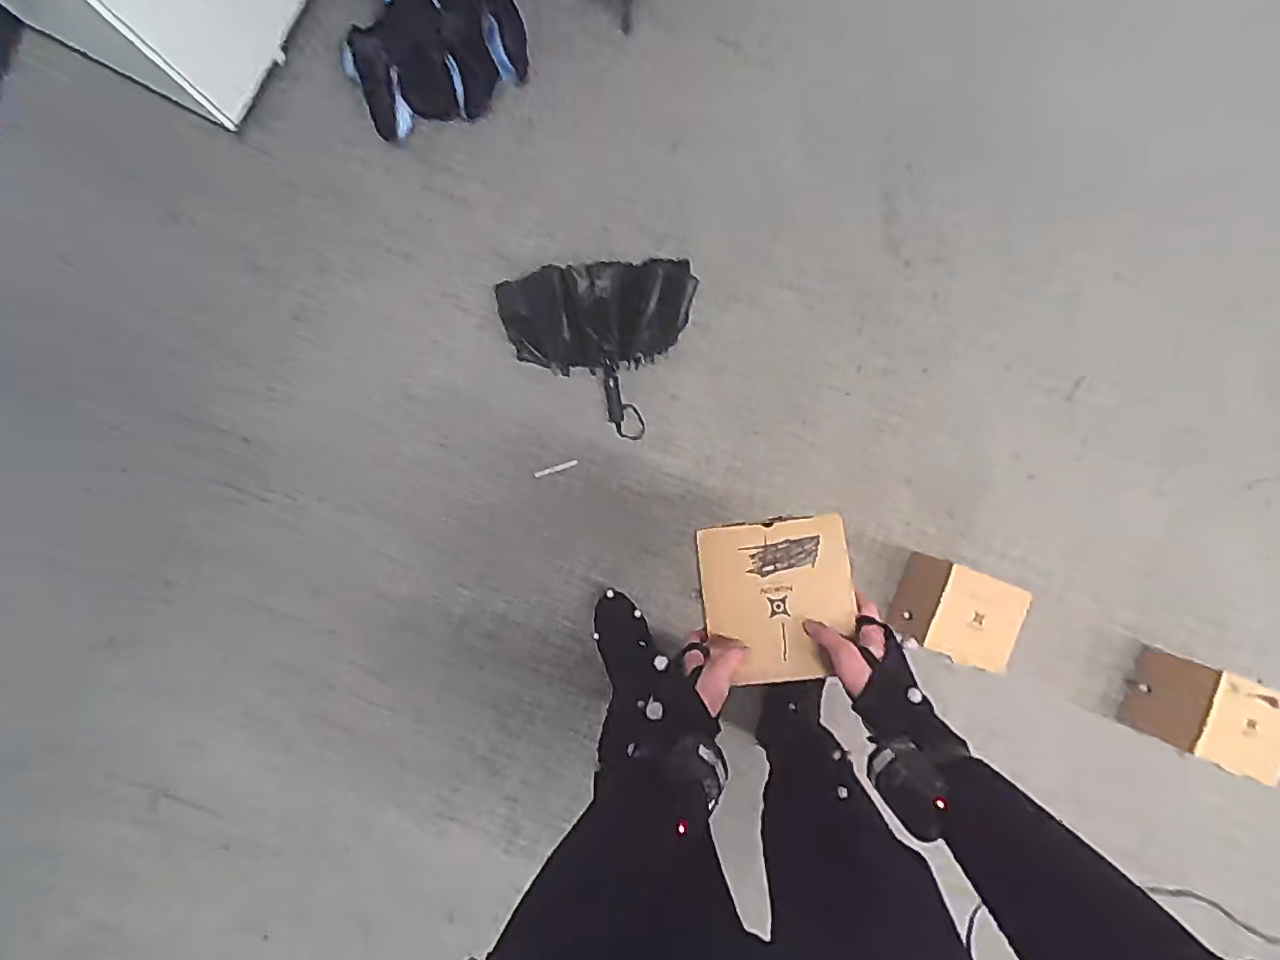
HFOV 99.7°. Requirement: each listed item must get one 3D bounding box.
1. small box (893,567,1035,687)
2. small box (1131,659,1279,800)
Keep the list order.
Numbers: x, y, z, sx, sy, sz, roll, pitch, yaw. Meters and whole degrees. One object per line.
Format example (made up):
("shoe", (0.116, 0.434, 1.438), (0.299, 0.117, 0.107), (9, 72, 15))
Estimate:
("small box", (0.653, 0.292, 1.114), (0.168, 0.176, 0.179), (21, 86, 1))
("small box", (1.161, 0.493, 1.095), (0.168, 0.176, 0.179), (22, 88, 2))
